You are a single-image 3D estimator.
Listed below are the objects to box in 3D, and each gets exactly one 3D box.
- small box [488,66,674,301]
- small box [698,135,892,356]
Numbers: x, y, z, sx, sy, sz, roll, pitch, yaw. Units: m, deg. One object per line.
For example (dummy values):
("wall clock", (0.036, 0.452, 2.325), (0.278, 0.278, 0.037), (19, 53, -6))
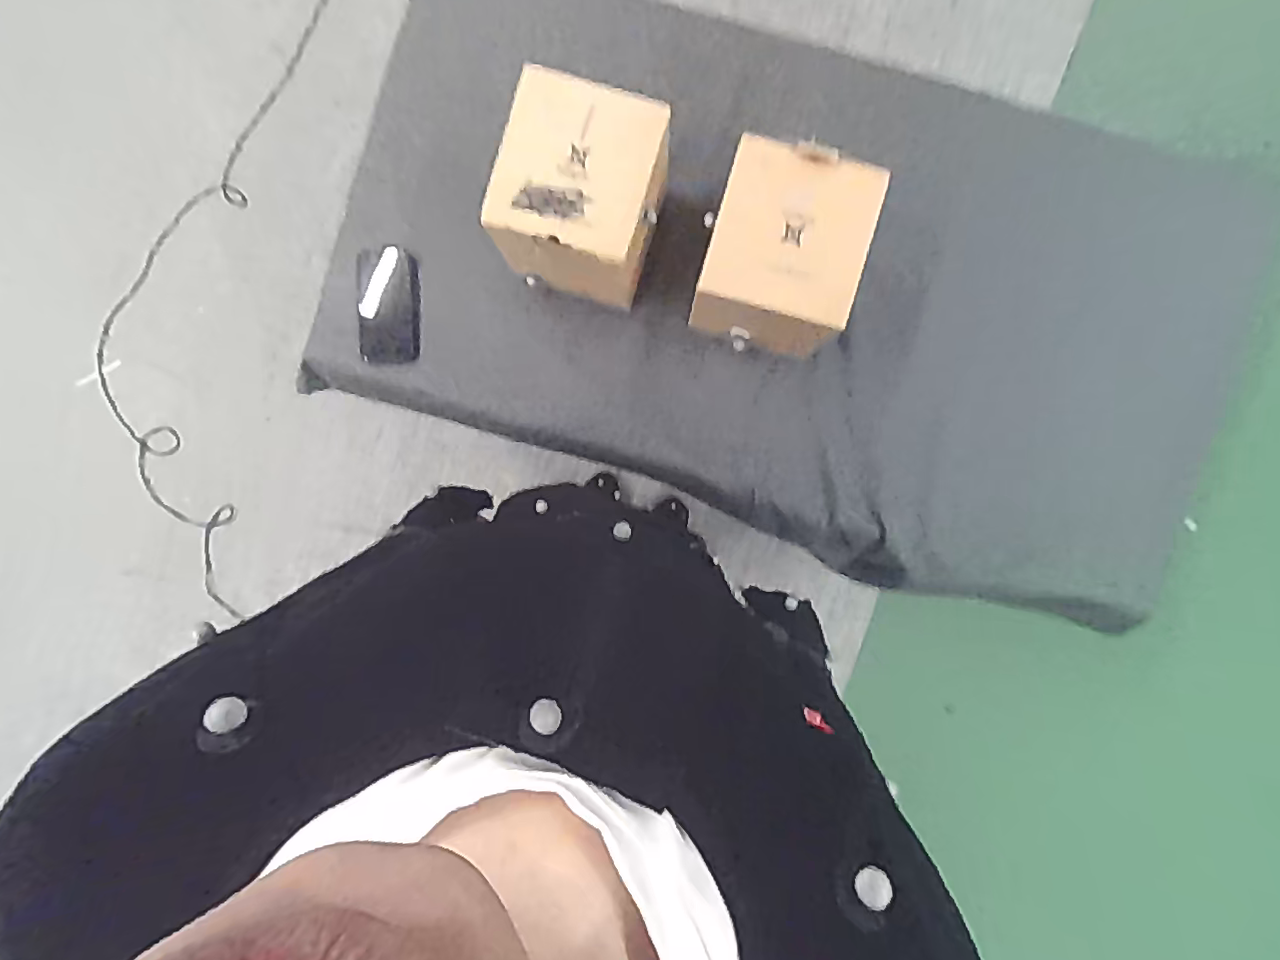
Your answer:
("small box", (-0.062, -0.343, 0.663), (0.168, 0.176, 0.179), (17, 90, 1))
("small box", (0.173, -0.271, 0.663), (0.168, 0.176, 0.179), (16, 92, 2))
